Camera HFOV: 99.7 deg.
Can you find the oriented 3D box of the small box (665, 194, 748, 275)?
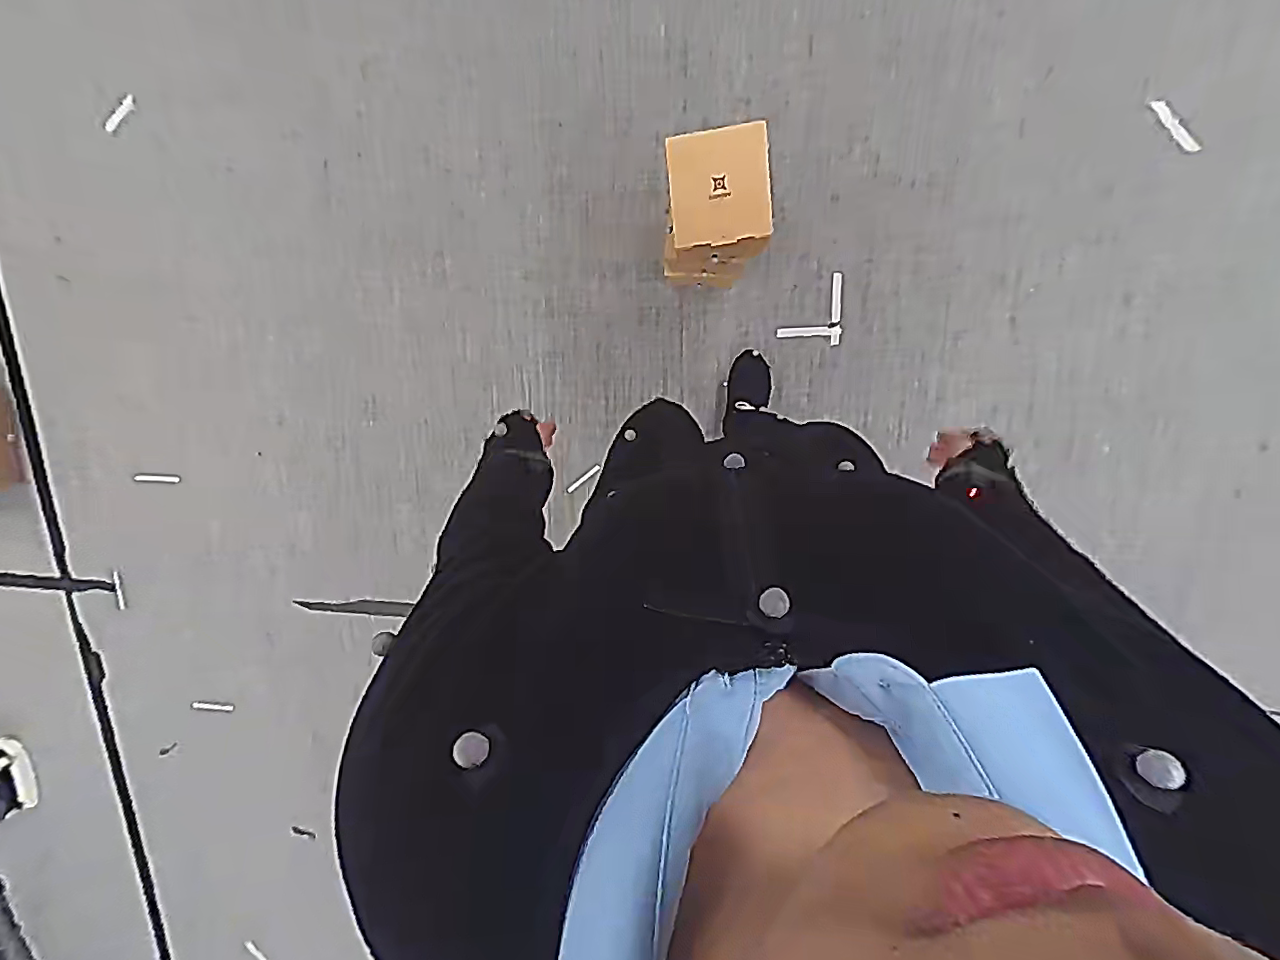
[{"bbox_3d":[0.146,-0.534,1.120,0.168,0.176,0.179,6,104,6],"label":"small box"}]

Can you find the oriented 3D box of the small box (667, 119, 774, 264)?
[{"bbox_3d":[0.140,-0.498,0.961,0.168,0.176,0.179,-6,102,8],"label":"small box"}]
